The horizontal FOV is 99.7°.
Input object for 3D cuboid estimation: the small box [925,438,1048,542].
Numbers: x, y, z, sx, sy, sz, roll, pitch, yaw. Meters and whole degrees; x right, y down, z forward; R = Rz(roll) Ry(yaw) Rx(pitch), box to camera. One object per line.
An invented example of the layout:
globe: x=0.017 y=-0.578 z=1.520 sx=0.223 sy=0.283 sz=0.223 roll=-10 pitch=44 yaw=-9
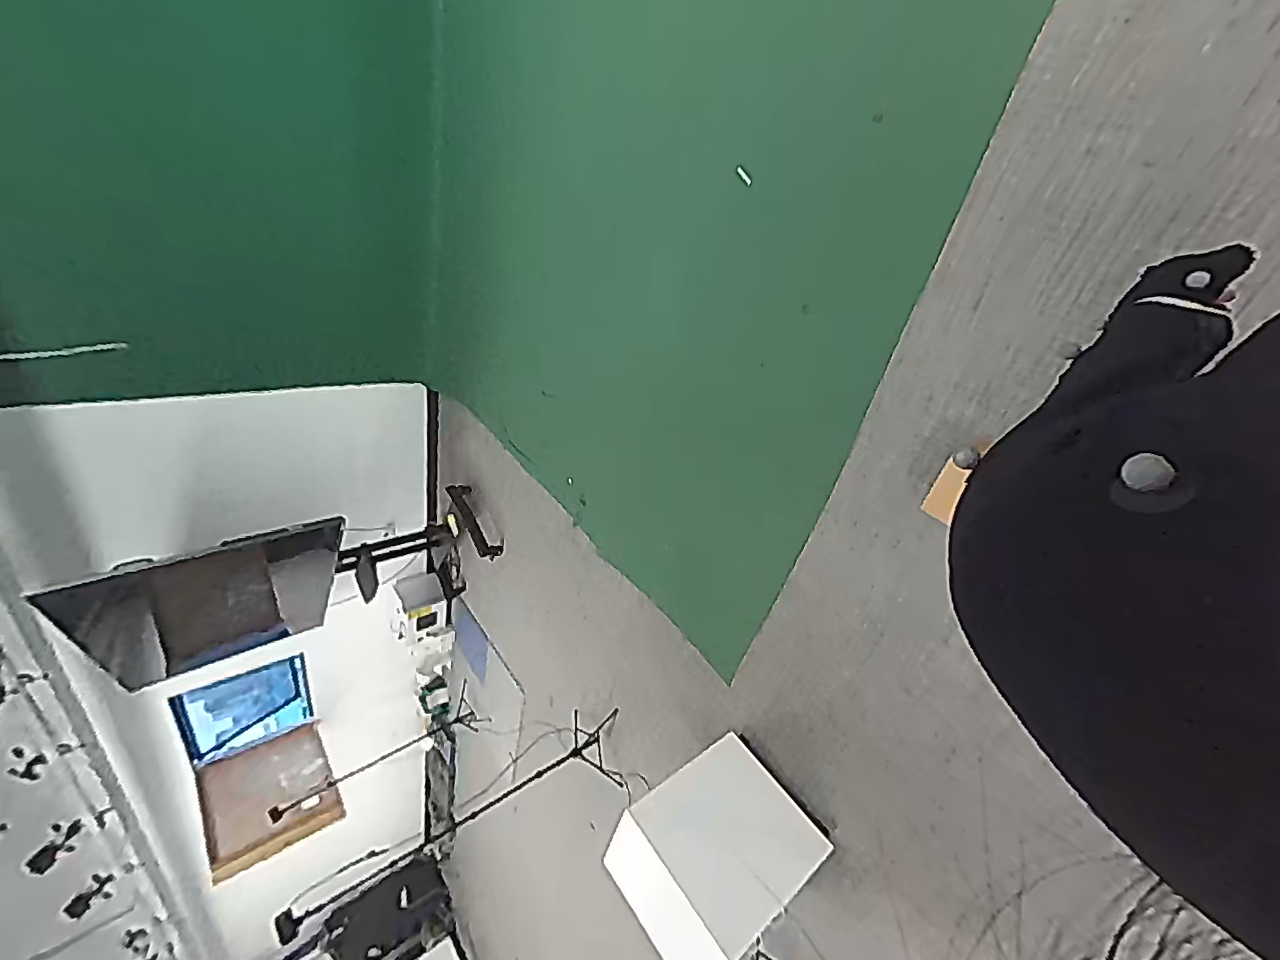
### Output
small box: x=0.835 y=0.018 z=1.300 sx=0.168 sy=0.176 sz=0.179 roll=41 pitch=128 yaw=36
